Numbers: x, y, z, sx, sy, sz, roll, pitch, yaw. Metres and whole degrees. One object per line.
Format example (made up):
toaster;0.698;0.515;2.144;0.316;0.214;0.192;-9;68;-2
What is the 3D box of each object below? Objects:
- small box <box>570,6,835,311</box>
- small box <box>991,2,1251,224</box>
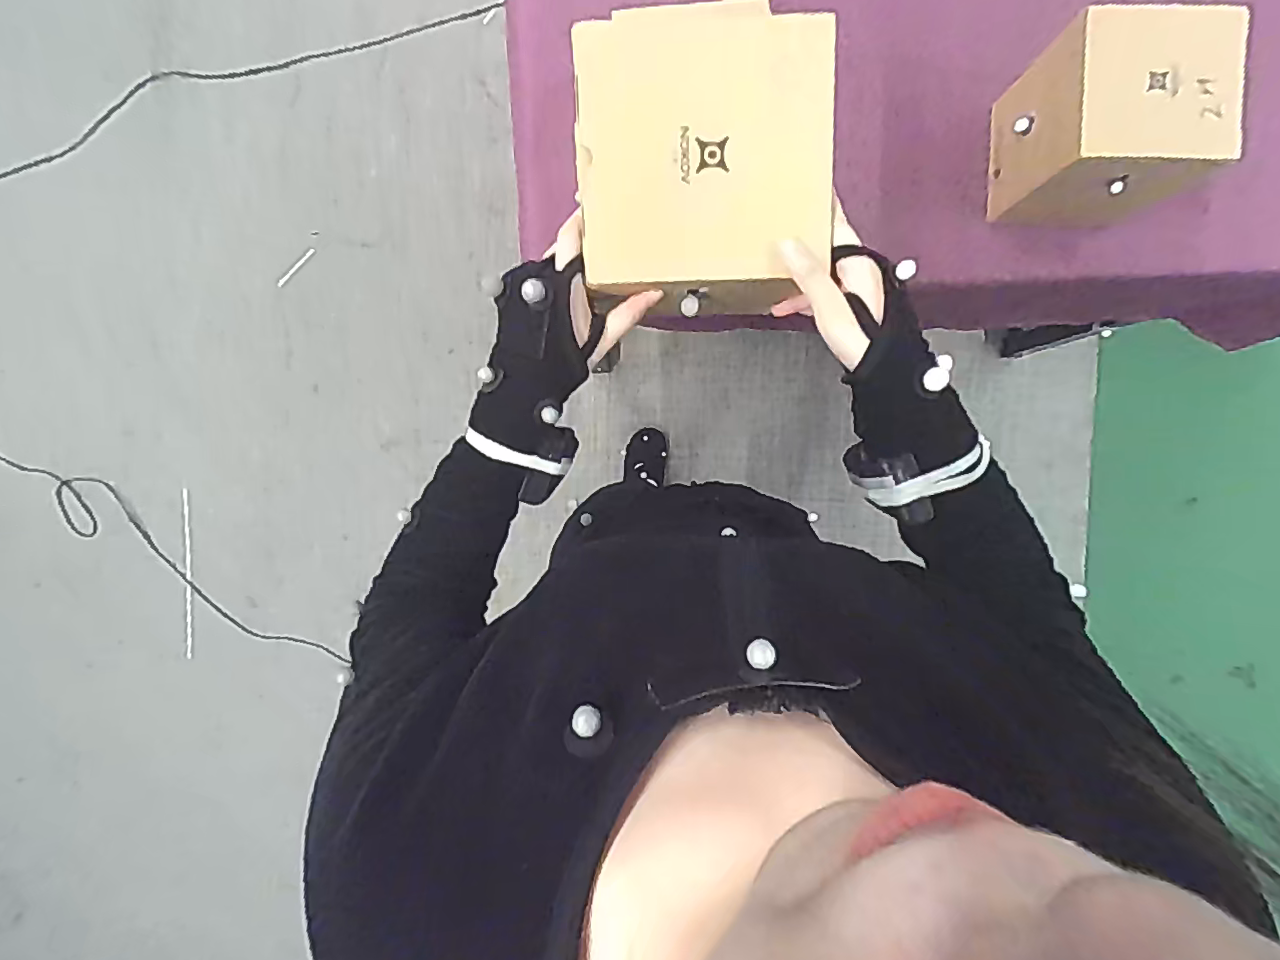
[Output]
small box;0.040;-0.236;0.441;0.179;0.176;0.168;-1;98;0
small box;0.568;-0.433;0.664;0.179;0.176;0.168;2;92;1
